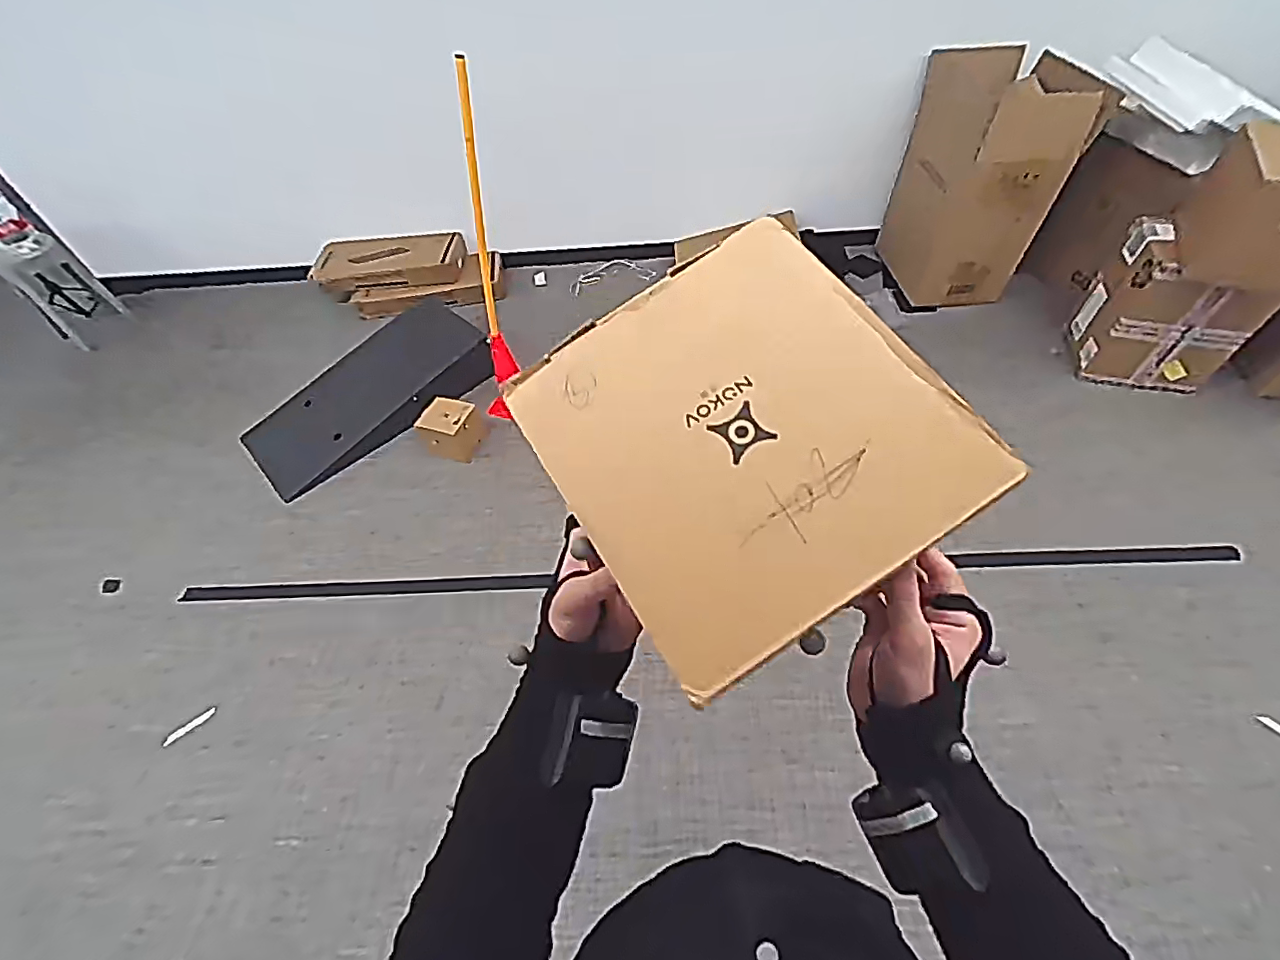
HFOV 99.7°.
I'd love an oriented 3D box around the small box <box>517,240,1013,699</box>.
[{"bbox_3d":[0.059,0.006,0.329,0.168,0.176,0.179,-35,71,-2],"label":"small box"}]
